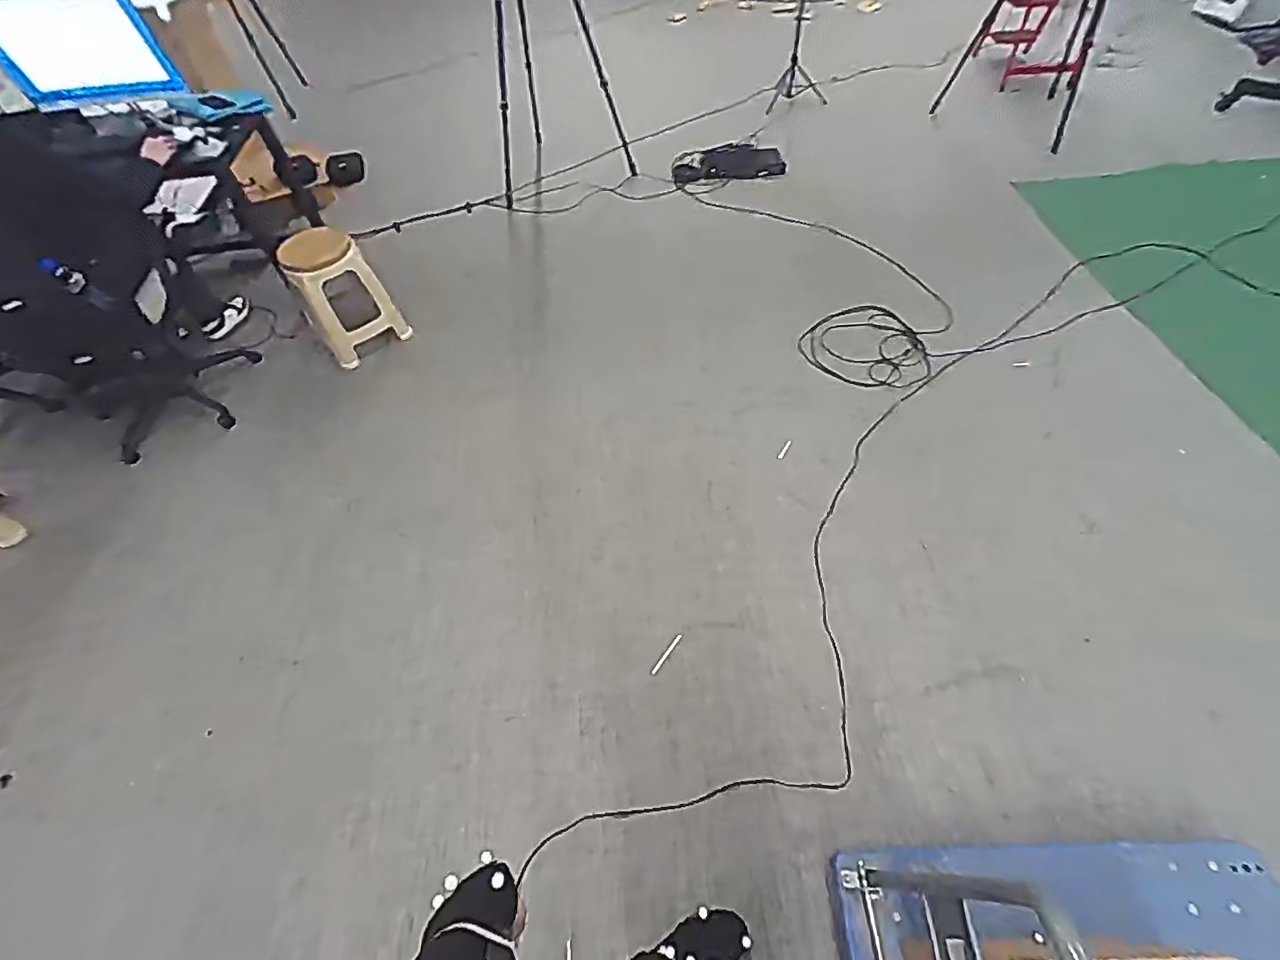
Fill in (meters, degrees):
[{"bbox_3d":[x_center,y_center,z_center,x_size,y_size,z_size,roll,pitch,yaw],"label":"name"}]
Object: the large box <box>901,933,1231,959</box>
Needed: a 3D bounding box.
[{"bbox_3d":[0.705,0.935,0.854,0.408,0.320,0.320,-3,55,1],"label":"large box"}]
